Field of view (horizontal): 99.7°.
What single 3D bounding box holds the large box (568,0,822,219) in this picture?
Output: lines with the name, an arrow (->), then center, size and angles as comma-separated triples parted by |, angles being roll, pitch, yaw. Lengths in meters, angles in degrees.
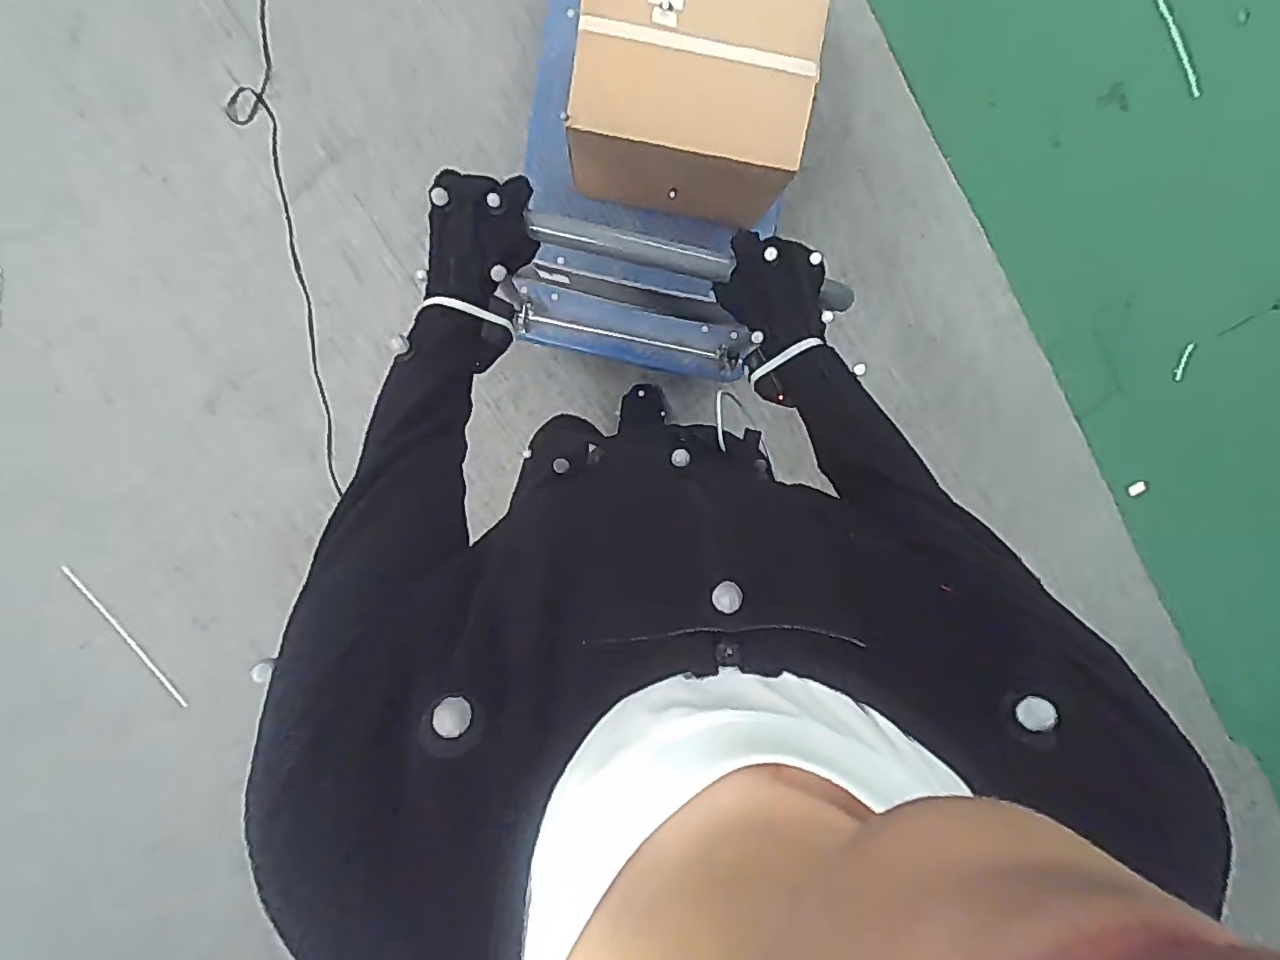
large box -> 0.090, -0.740, 1.052 | 0.408, 0.320, 0.320 | 8, 97, -3
